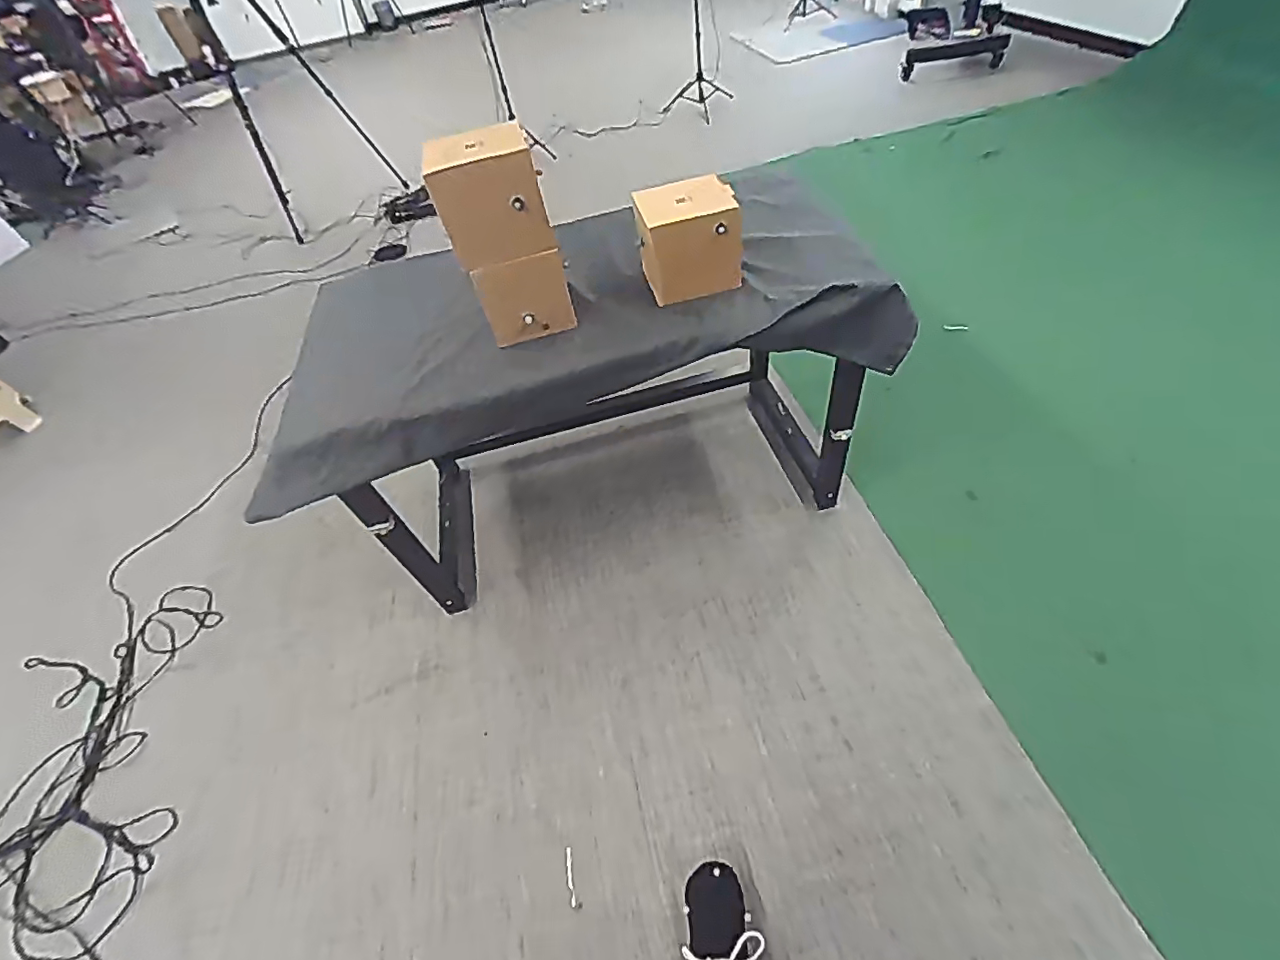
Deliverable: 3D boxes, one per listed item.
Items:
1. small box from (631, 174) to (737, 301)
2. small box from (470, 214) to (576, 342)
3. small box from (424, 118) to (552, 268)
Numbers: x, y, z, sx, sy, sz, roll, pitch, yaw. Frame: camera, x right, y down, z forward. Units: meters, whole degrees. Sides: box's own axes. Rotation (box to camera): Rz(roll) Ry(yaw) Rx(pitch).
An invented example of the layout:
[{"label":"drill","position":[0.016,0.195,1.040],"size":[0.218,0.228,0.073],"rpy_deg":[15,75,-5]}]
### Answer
[{"label":"small box","position":[0.092,-0.487,1.096],"size":[0.179,0.176,0.168],"rpy_deg":[-14,50,-2]},{"label":"small box","position":[-0.235,-0.408,1.087],"size":[0.168,0.176,0.179],"rpy_deg":[-16,51,-3]},{"label":"small box","position":[-0.263,-0.507,0.961],"size":[0.179,0.176,0.168],"rpy_deg":[-17,49,-3]}]
